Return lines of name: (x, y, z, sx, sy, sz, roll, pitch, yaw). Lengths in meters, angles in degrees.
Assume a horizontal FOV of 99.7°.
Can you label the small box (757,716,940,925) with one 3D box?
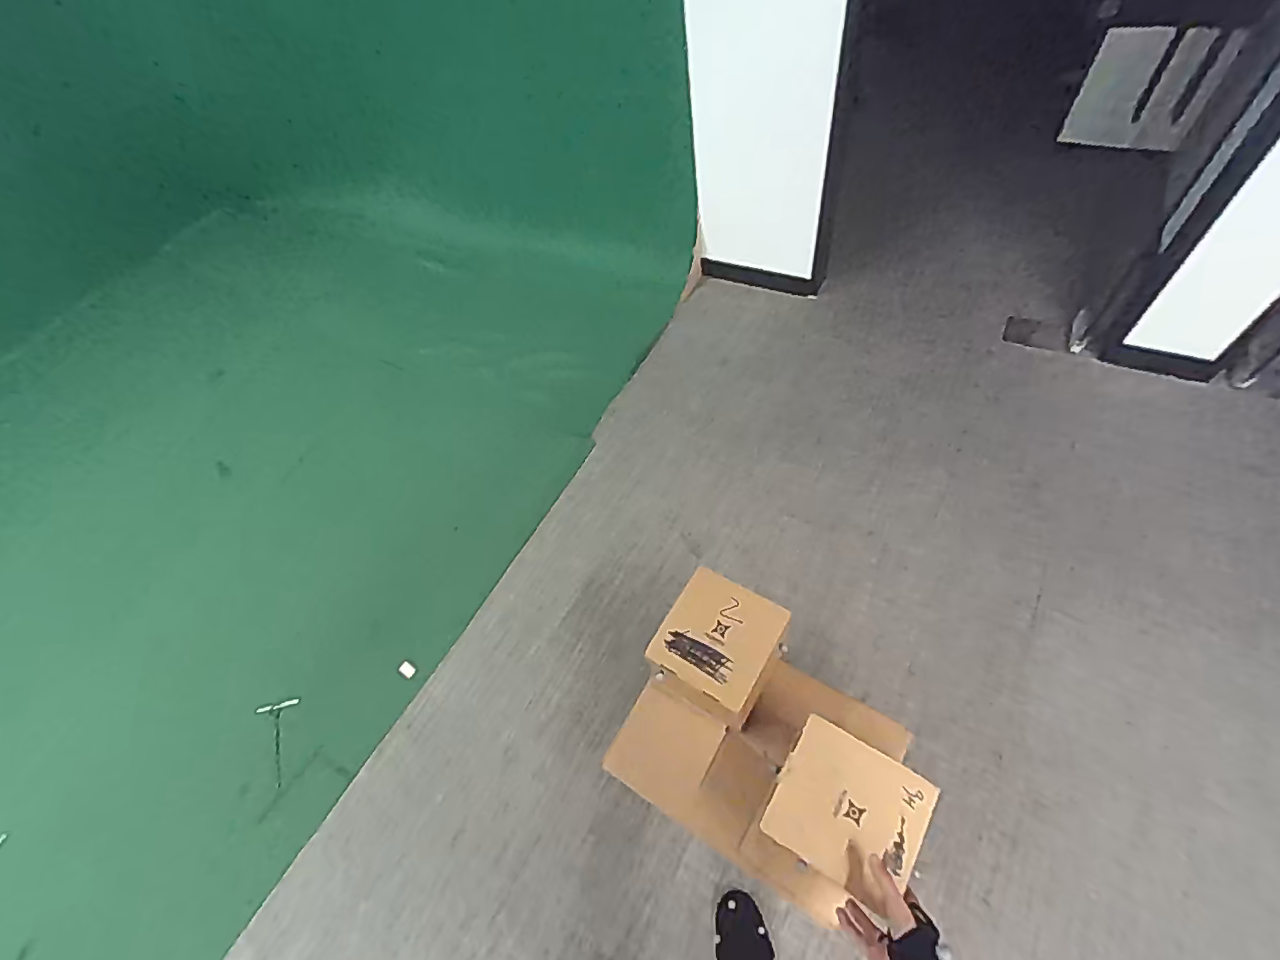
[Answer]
small box: (0.276, 0.463, 0.749, 0.179, 0.176, 0.168, 25, 66, 25)
